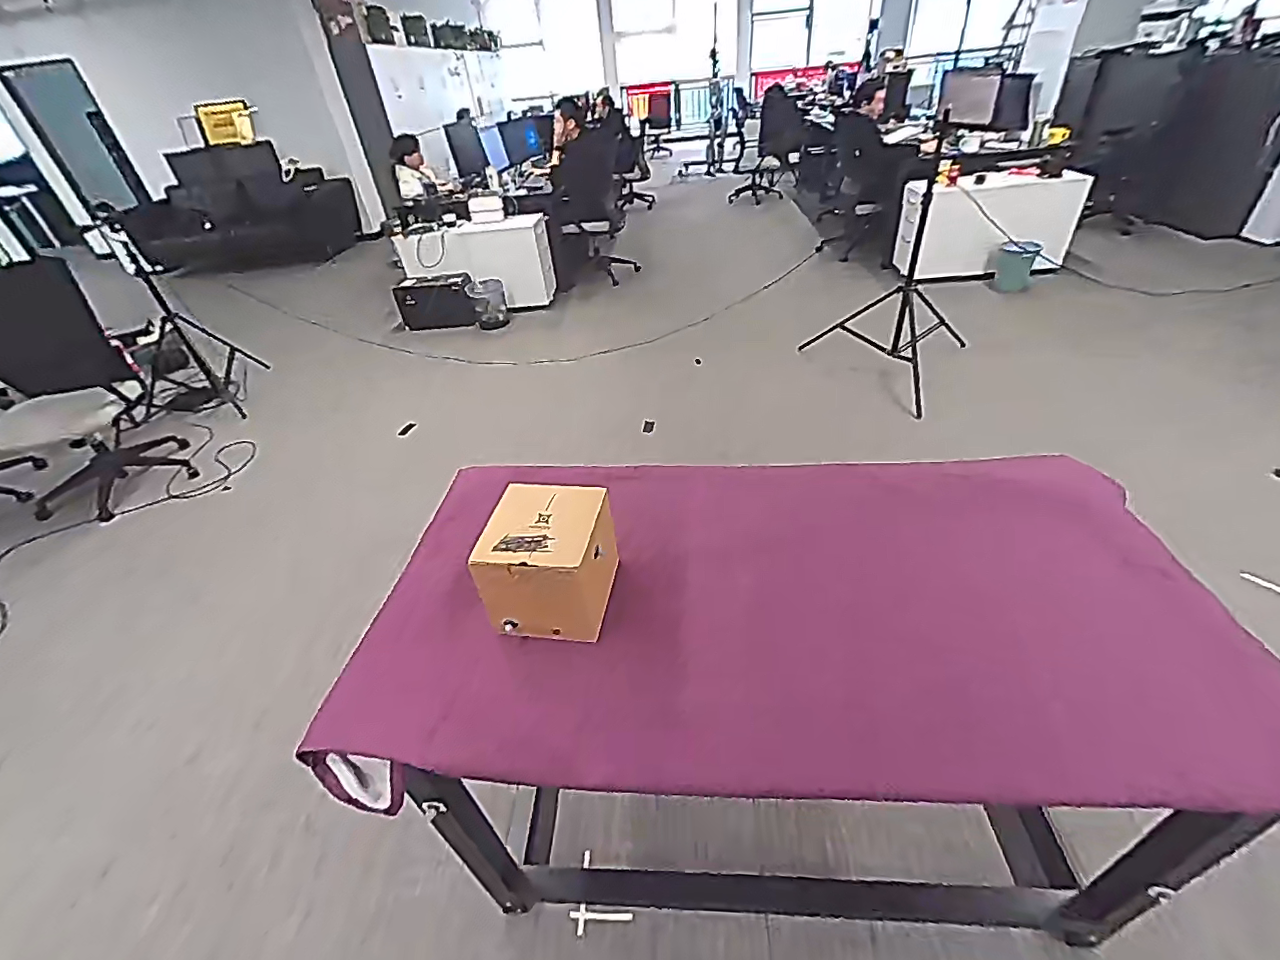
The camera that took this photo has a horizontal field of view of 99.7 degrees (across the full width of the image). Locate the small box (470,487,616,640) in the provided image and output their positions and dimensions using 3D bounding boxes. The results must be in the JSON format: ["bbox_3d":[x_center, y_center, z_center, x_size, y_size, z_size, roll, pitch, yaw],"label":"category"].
[{"bbox_3d":[-0.139,0.131,0.853,0.168,0.176,0.179,2,38,10],"label":"small box"}]
